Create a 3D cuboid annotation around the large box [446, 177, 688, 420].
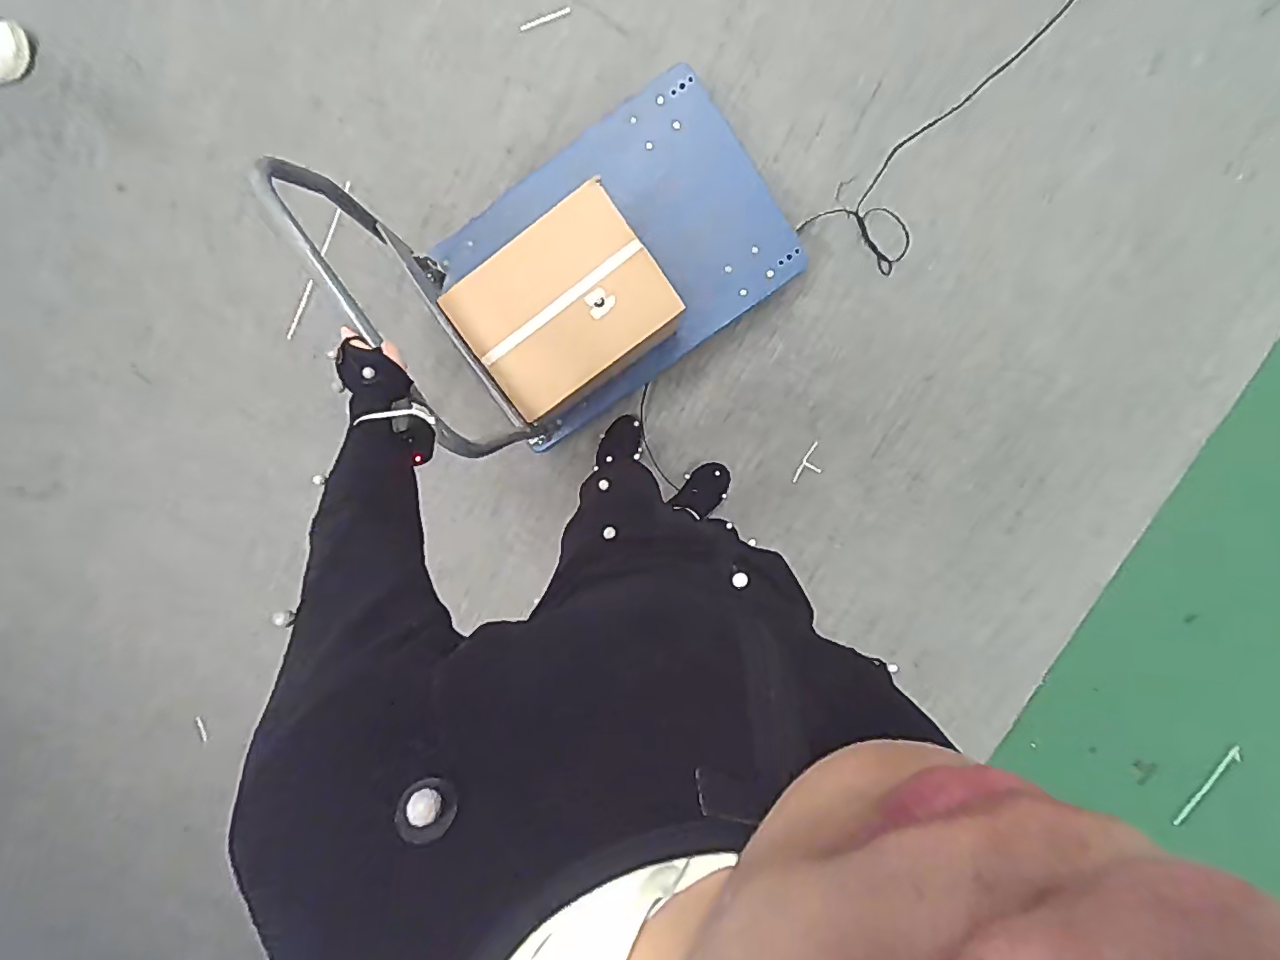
[{"bbox_3d":[-0.149,-0.374,1.234,0.408,0.320,0.320,-36,96,4],"label":"large box"}]
